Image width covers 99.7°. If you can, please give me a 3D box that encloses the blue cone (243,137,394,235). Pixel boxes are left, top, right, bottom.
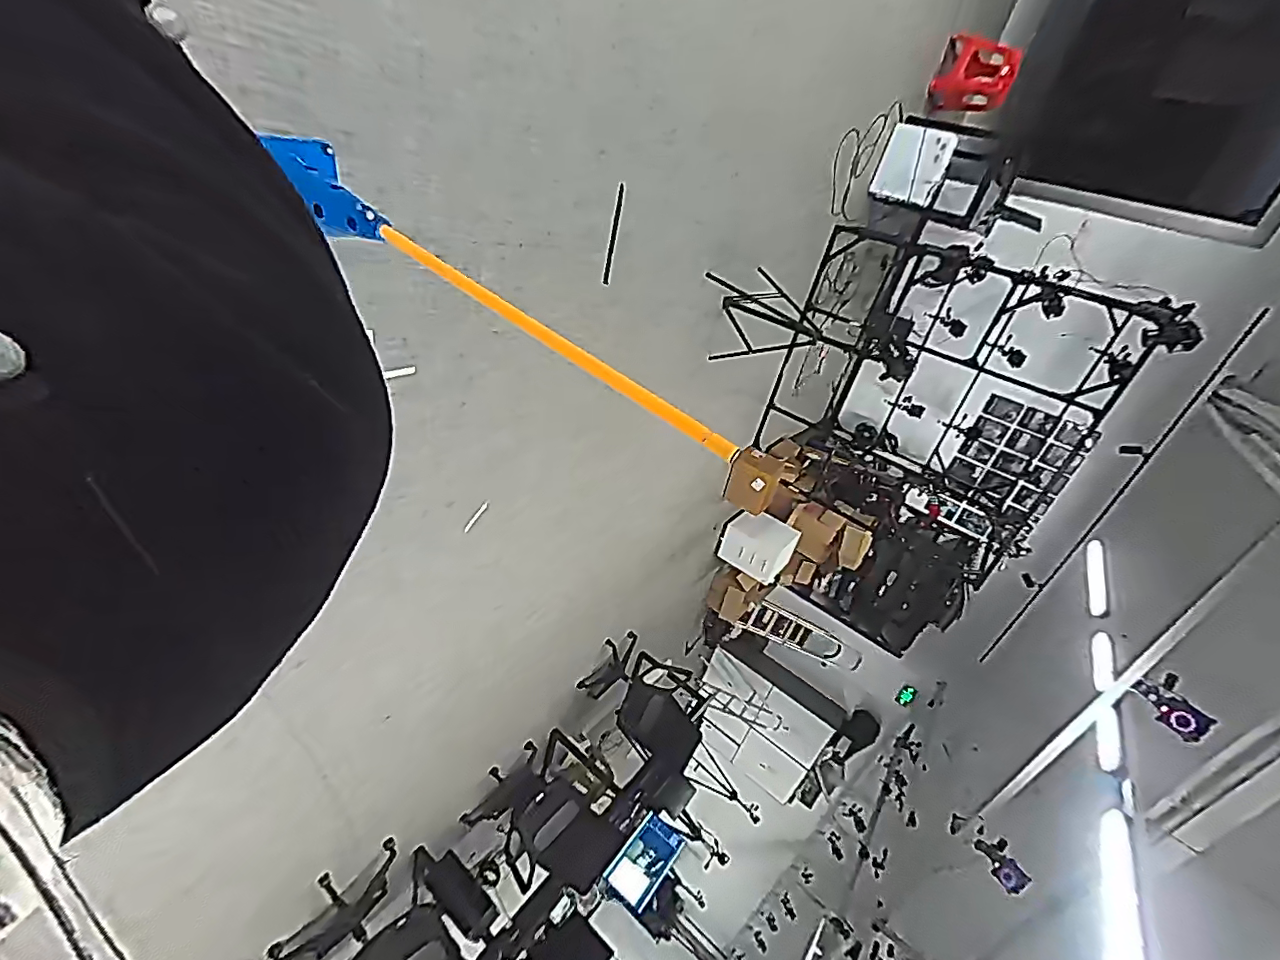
[{"bbox_3d":[-0.641,-0.580,1.141,0.193,0.380,0.192,-30,141,-46],"label":"blue cone"}]
